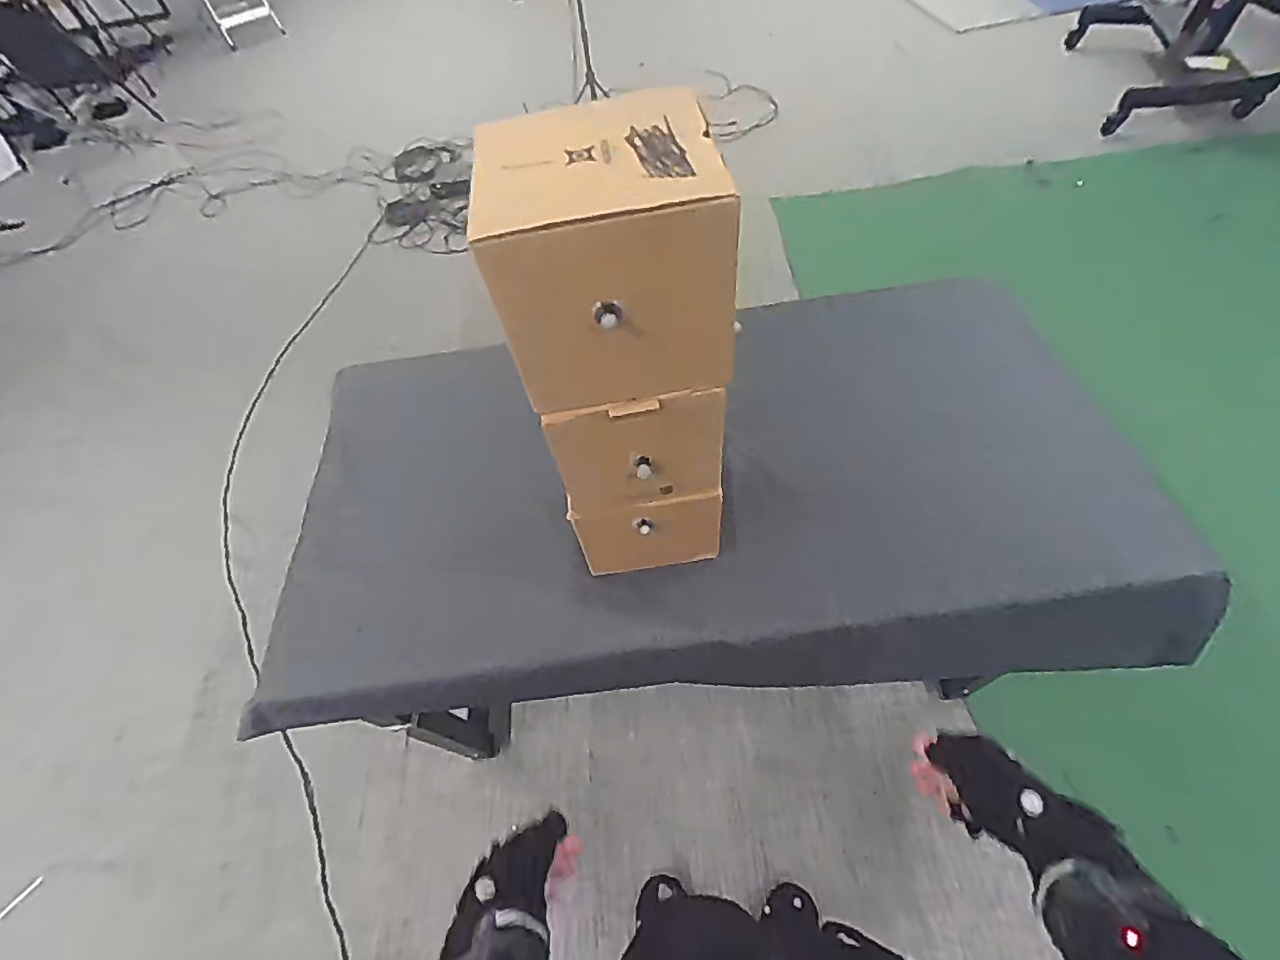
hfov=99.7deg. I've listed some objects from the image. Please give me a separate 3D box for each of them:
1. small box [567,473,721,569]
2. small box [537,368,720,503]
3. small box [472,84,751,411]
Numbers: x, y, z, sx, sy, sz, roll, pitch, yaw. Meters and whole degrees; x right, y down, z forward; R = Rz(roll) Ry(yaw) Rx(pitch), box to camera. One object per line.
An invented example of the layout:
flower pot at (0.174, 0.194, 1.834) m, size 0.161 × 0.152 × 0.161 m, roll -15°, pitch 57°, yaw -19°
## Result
small box at (0.004, 0.004, 0.711) m, size 0.179 × 0.176 × 0.168 m, roll -9°, pitch 57°, yaw 0°
small box at (-0.011, -0.090, 0.579) m, size 0.168 × 0.176 × 0.179 m, roll -10°, pitch 57°, yaw 0°
small box at (-0.024, -0.180, 0.441) m, size 0.179 × 0.176 × 0.168 m, roll -12°, pitch 57°, yaw -2°
